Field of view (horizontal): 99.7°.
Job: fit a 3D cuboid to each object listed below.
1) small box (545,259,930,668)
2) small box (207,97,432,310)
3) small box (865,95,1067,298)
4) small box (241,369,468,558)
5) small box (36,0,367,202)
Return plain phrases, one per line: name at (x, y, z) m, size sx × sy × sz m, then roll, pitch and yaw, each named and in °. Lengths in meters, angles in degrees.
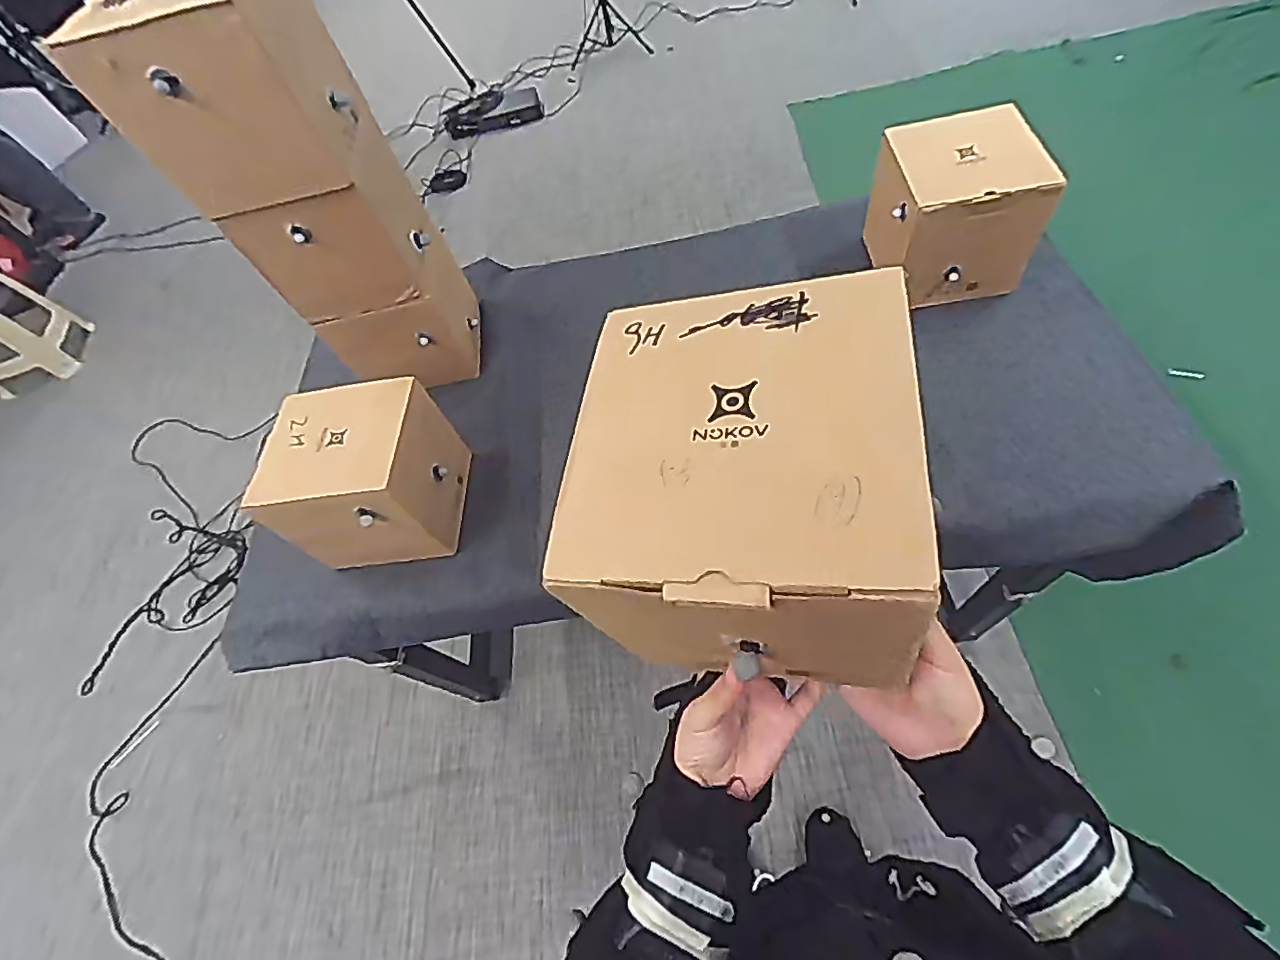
small box at (0.069, 0.006, 0.324) m, size 0.168 × 0.176 × 0.179 m, roll -2°, pitch 61°, yaw 20°
small box at (-0.395, -0.346, 0.700) m, size 0.179 × 0.176 × 0.168 m, roll -12°, pitch 62°, yaw 3°
small box at (0.424, -0.382, 0.744) m, size 0.168 × 0.176 × 0.179 m, roll -7°, pitch 61°, yaw 8°
small box at (-0.339, -0.014, 0.686) m, size 0.179 × 0.176 × 0.168 m, roll -7°, pitch 57°, yaw 7°
small box at (-0.417, -0.416, 0.553) m, size 0.179 × 0.176 × 0.168 m, roll -10°, pitch 62°, yaw 4°
